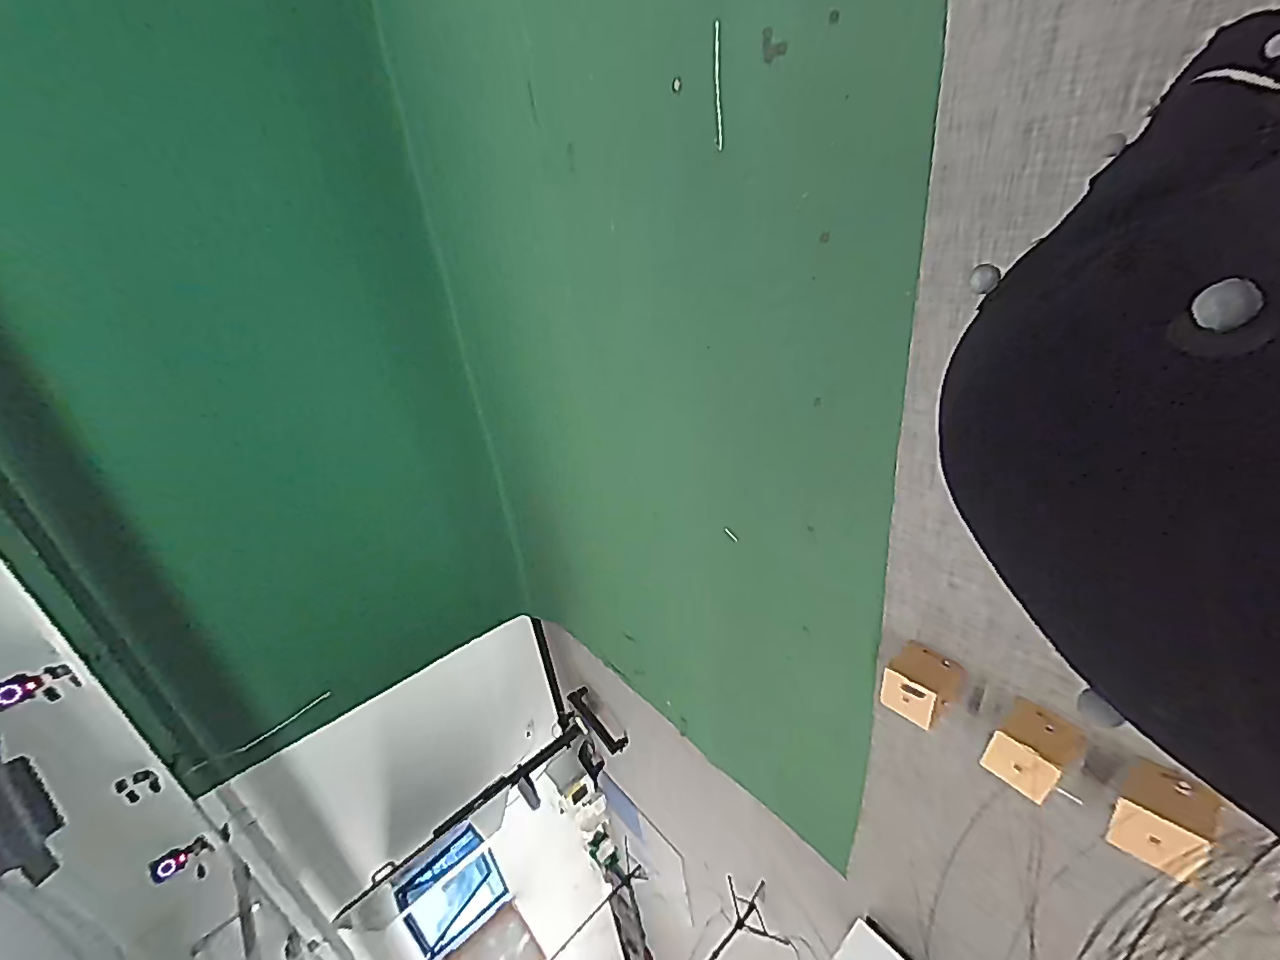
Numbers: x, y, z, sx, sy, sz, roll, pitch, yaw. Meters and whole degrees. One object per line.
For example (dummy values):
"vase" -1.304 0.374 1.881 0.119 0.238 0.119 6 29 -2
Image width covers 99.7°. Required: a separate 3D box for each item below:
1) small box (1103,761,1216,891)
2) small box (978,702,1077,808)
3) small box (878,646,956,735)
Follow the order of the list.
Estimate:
"small box" 1.308 0.861 1.362 0.168 0.176 0.179 18 124 46
"small box" 1.126 0.793 1.570 0.168 0.176 0.179 30 133 42
"small box" 0.918 0.688 1.789 0.168 0.176 0.179 25 131 45
